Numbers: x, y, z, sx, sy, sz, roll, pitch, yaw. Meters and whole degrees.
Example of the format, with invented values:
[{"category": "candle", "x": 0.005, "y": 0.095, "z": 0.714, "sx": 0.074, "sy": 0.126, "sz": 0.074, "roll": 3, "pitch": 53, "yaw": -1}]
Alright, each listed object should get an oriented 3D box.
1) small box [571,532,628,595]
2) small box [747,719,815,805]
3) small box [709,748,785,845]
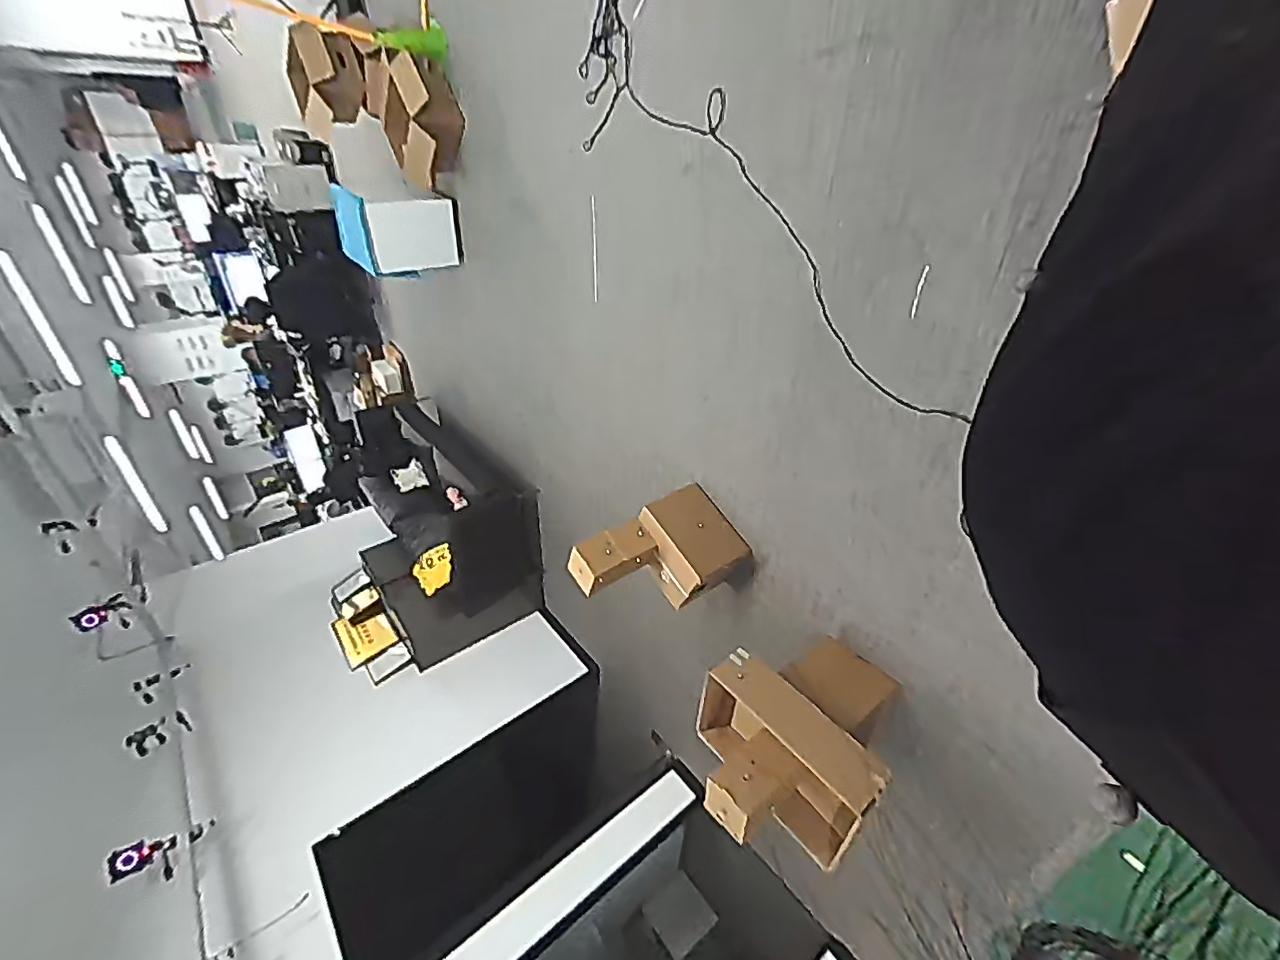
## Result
[{"category": "small box", "x": -0.170, "y": 0.353, "z": 2.297, "sx": 0.168, "sy": 0.176, "sz": 0.179, "roll": 50, "pitch": 144, "yaw": 25}, {"category": "small box", "x": 0.472, "y": 0.961, "z": 1.842, "sx": 0.168, "sy": 0.176, "sz": 0.179, "roll": 34, "pitch": 134, "yaw": 39}, {"category": "small box", "x": 0.347, "y": 1.015, "z": 1.750, "sx": 0.168, "sy": 0.176, "sz": 0.179, "roll": 33, "pitch": 133, "yaw": 42}]
